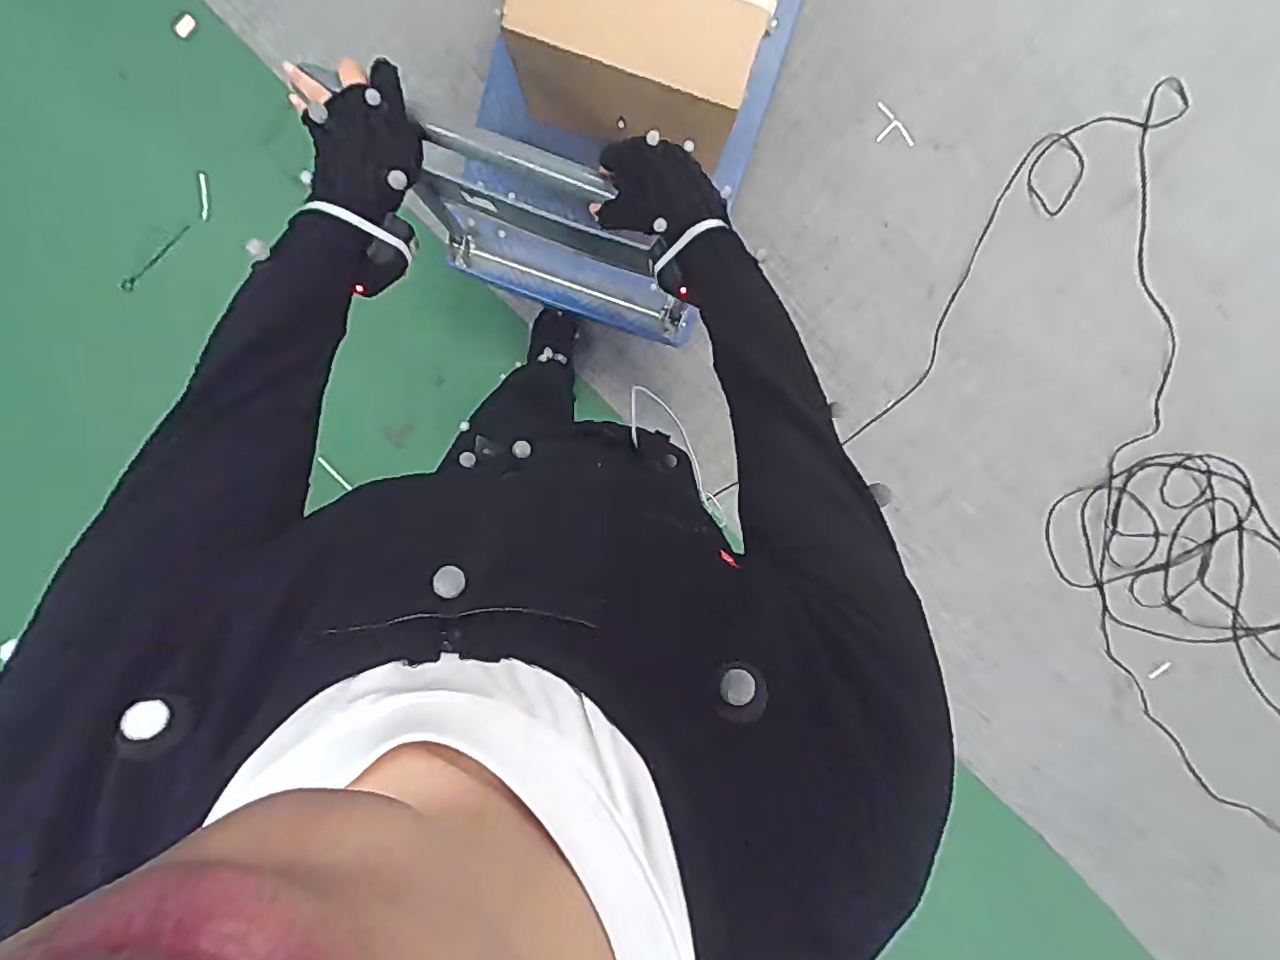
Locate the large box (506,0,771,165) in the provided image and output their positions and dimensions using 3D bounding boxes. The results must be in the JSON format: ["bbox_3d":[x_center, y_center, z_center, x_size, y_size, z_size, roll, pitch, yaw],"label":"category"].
[{"bbox_3d":[0.018,-0.843,0.988,0.408,0.320,0.320,16,100,-4],"label":"large box"}]
